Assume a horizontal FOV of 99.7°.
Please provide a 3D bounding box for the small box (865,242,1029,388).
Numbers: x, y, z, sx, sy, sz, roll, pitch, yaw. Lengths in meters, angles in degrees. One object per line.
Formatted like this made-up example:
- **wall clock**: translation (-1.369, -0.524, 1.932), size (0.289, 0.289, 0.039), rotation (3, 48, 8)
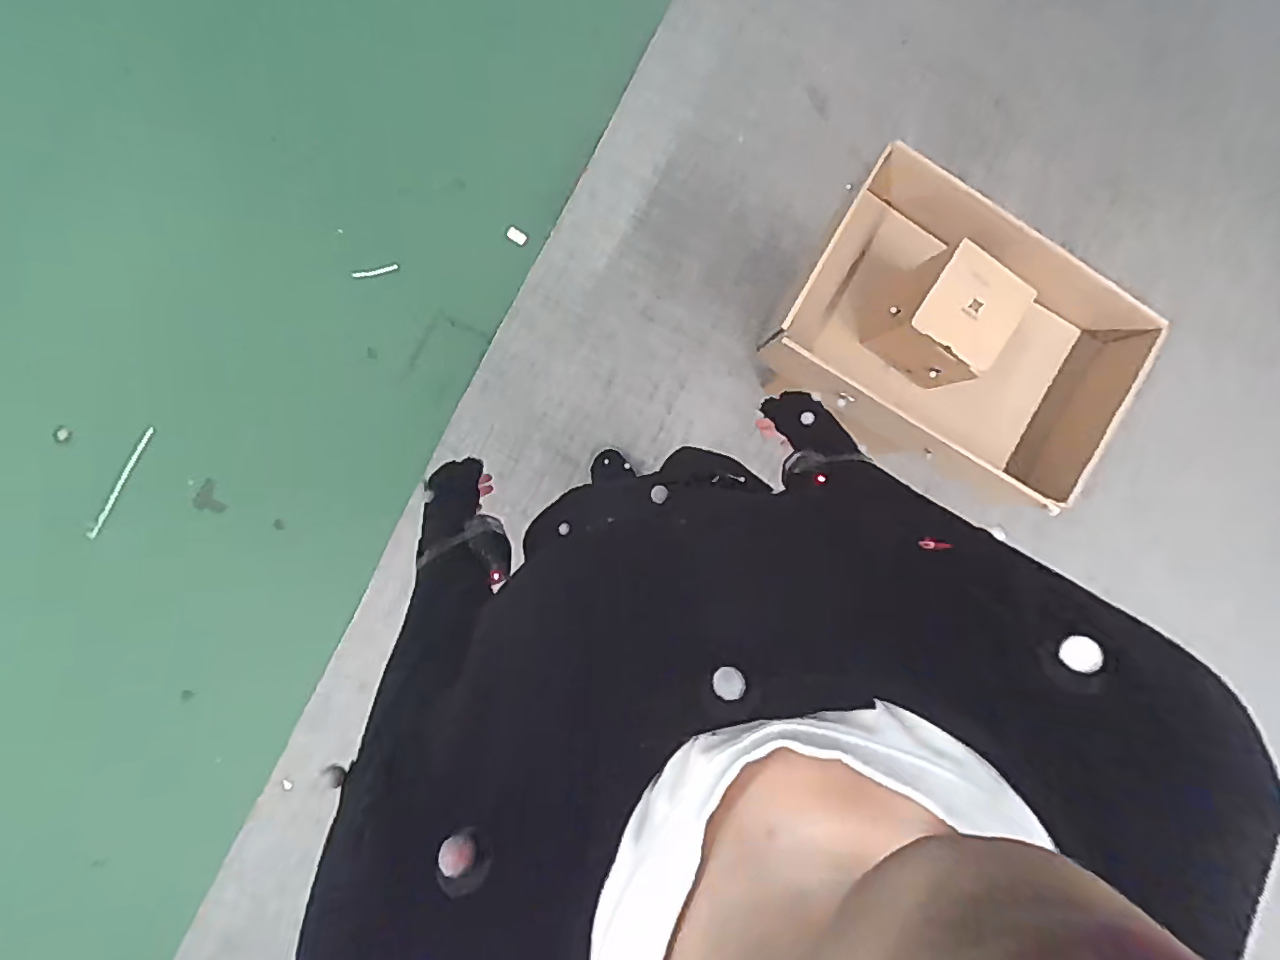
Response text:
- **small box**: translation (0.550, -0.290, 0.998), size (0.168, 0.176, 0.179), rotation (32, 87, -7)
